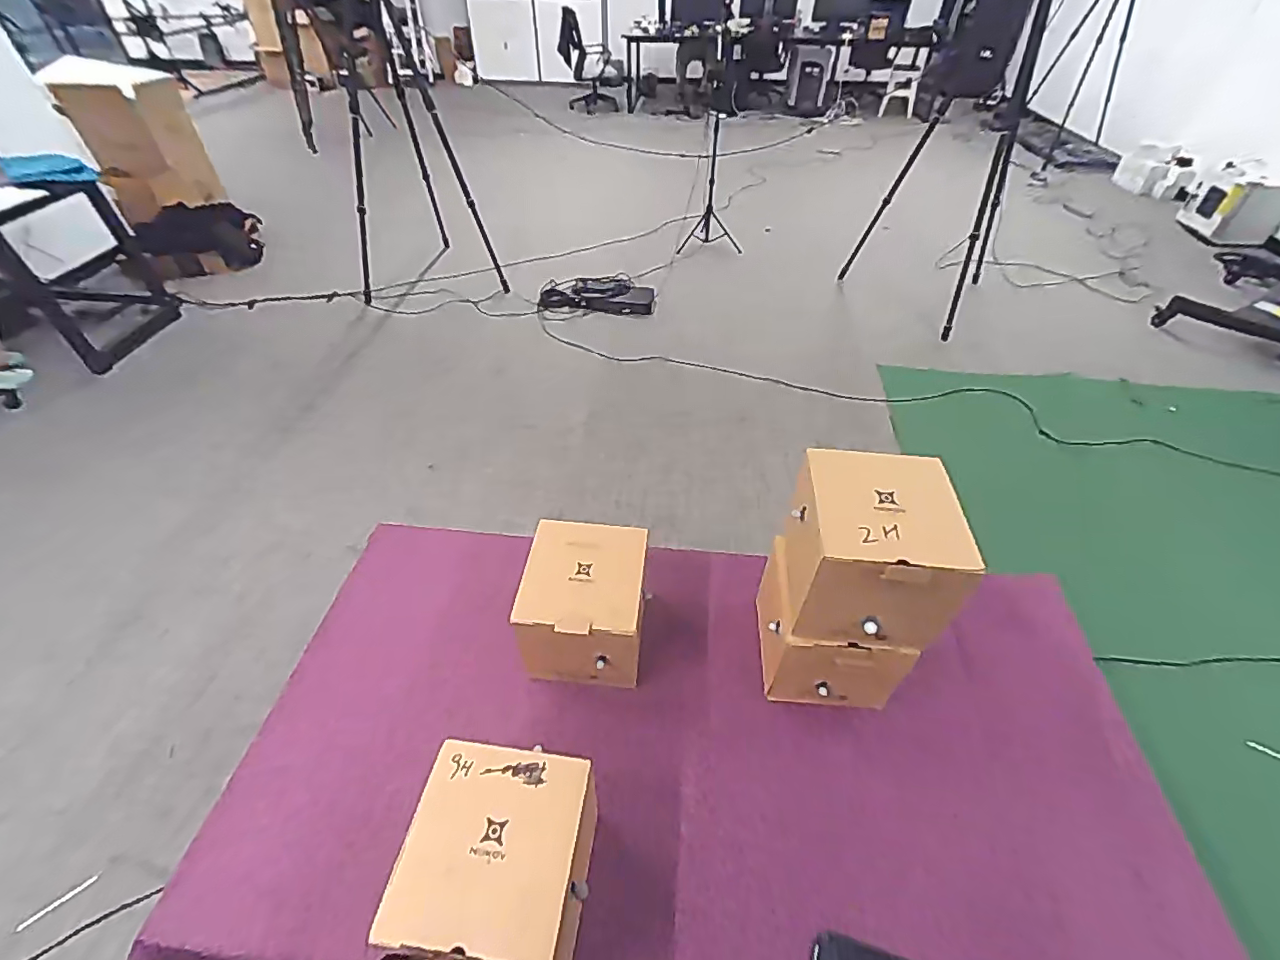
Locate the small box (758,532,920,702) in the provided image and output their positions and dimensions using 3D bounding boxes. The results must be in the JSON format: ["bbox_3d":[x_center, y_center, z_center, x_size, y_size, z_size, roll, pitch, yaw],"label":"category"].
[{"bbox_3d":[0.271,0.199,0.787,0.168,0.176,0.179,3,46,3],"label":"small box"}]

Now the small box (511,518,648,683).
[{"bbox_3d":[-0.078,0.182,0.805,0.168,0.176,0.179,5,45,4],"label":"small box"}]

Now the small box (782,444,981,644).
[{"bbox_3d":[0.278,0.079,0.674,0.168,0.176,0.179,4,46,5],"label":"small box"}]

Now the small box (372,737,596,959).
[{"bbox_3d":[-0.143,0.406,0.579,0.168,0.176,0.179,6,44,5],"label":"small box"}]
